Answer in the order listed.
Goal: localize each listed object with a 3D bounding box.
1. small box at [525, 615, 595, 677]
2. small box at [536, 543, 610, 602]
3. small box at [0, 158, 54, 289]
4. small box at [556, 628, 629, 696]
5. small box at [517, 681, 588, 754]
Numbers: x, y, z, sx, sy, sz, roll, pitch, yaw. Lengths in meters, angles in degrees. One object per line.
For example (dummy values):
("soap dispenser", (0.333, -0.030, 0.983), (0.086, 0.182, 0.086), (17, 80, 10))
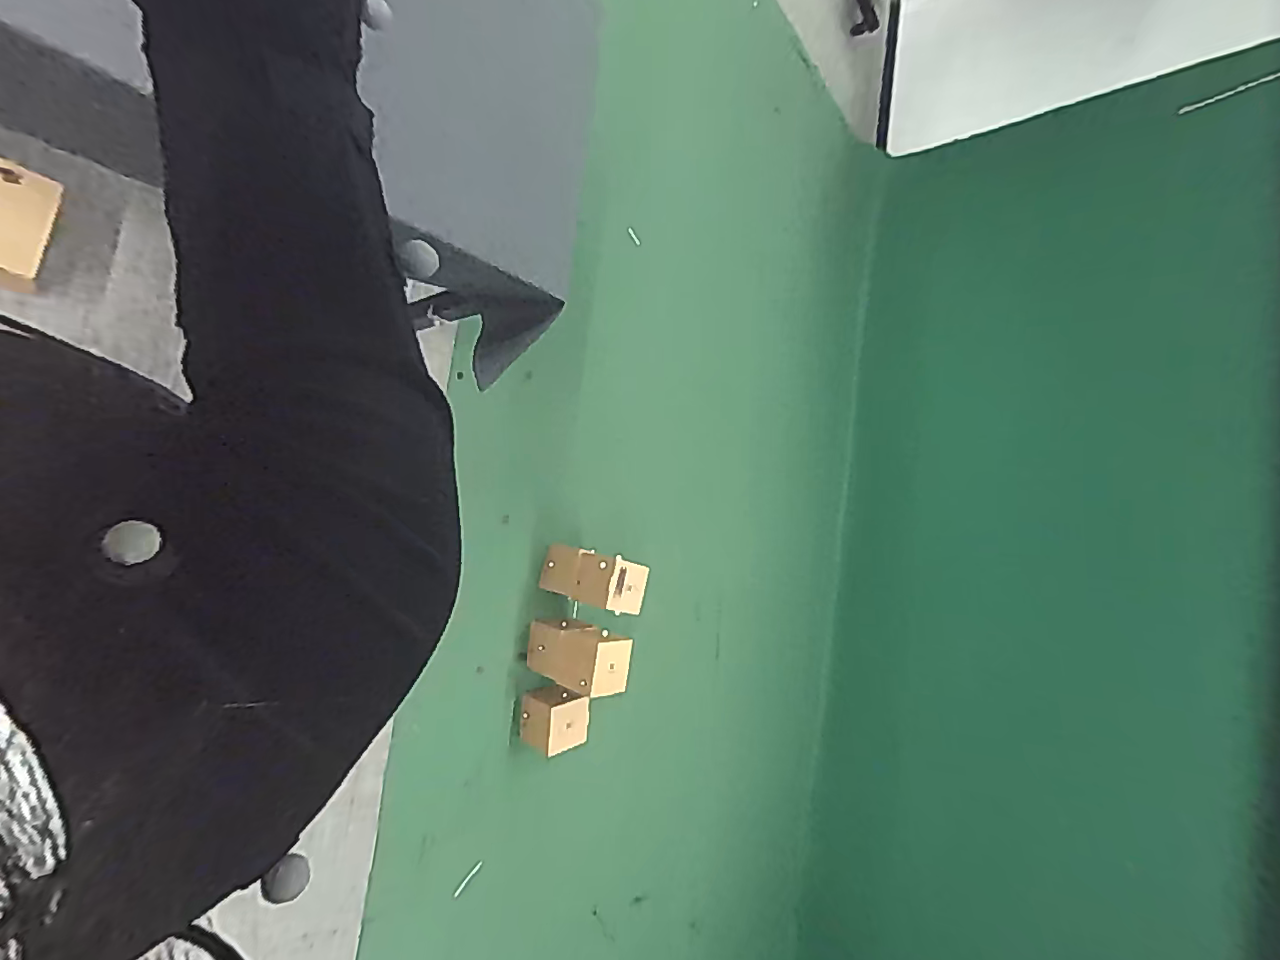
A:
("small box", (-0.284, 0.582, 1.910), (0.179, 0.176, 0.168), (9, 86, -49))
("small box", (-0.240, 0.328, 1.941), (0.179, 0.176, 0.168), (27, 72, -45))
("small box", (-1.104, -0.436, 0.887), (0.168, 0.176, 0.179), (18, 80, -47))
("small box", (-0.160, 0.598, 1.806), (0.168, 0.176, 0.179), (13, 84, -49))
("small box", (-0.308, 0.828, 1.904), (0.179, 0.176, 0.168), (4, 90, -49))
